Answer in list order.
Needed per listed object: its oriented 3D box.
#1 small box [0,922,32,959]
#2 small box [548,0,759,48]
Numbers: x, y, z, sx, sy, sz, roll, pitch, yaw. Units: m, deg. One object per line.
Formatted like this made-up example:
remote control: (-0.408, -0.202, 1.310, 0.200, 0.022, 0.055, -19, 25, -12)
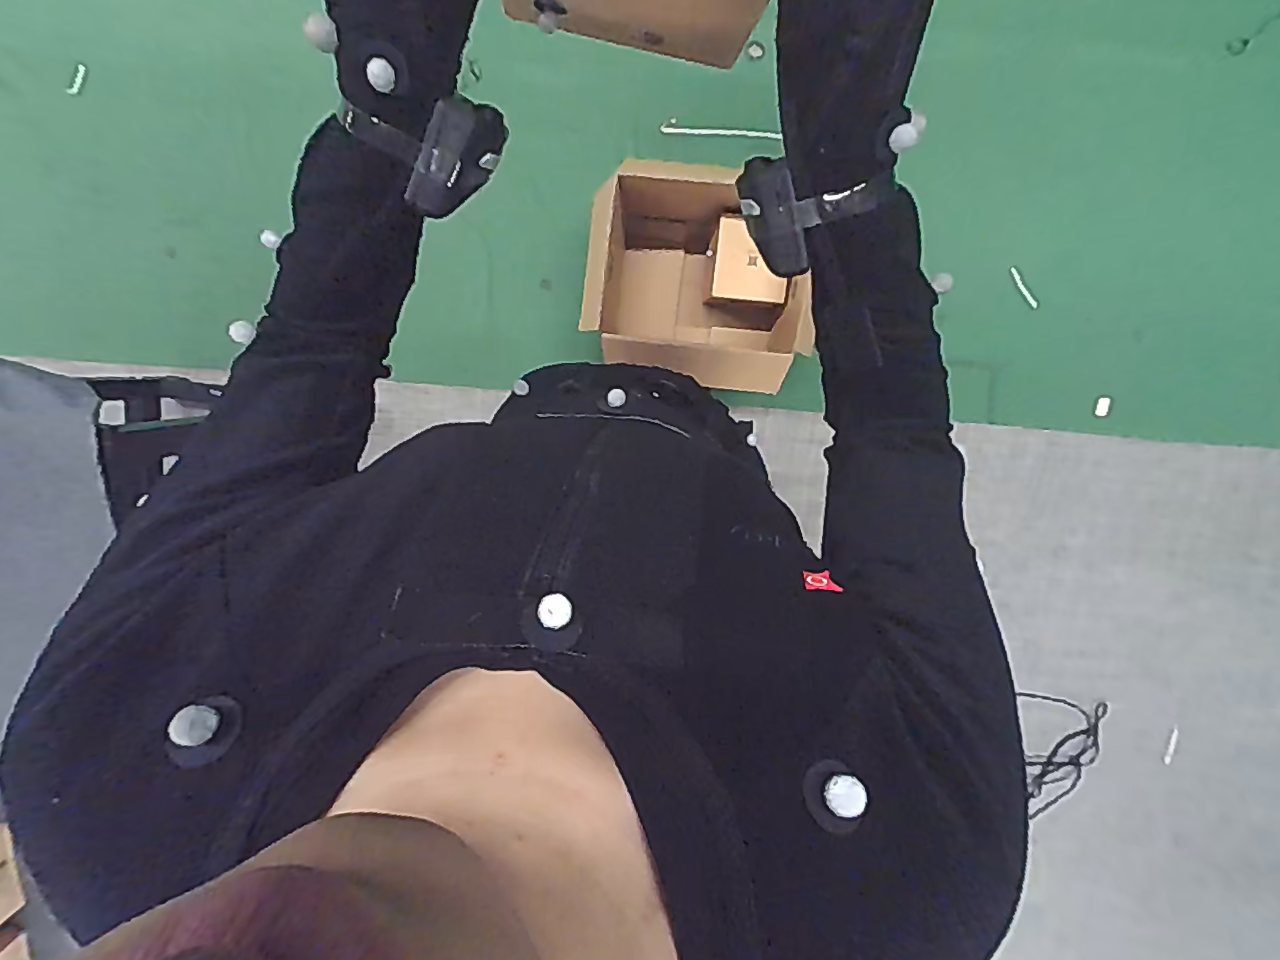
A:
small box: (-1.166, 0.858, 0.881, 0.179, 0.176, 0.168, 6, 102, 1)
small box: (0.011, -0.377, 0.285, 0.168, 0.176, 0.179, 7, 105, -8)
